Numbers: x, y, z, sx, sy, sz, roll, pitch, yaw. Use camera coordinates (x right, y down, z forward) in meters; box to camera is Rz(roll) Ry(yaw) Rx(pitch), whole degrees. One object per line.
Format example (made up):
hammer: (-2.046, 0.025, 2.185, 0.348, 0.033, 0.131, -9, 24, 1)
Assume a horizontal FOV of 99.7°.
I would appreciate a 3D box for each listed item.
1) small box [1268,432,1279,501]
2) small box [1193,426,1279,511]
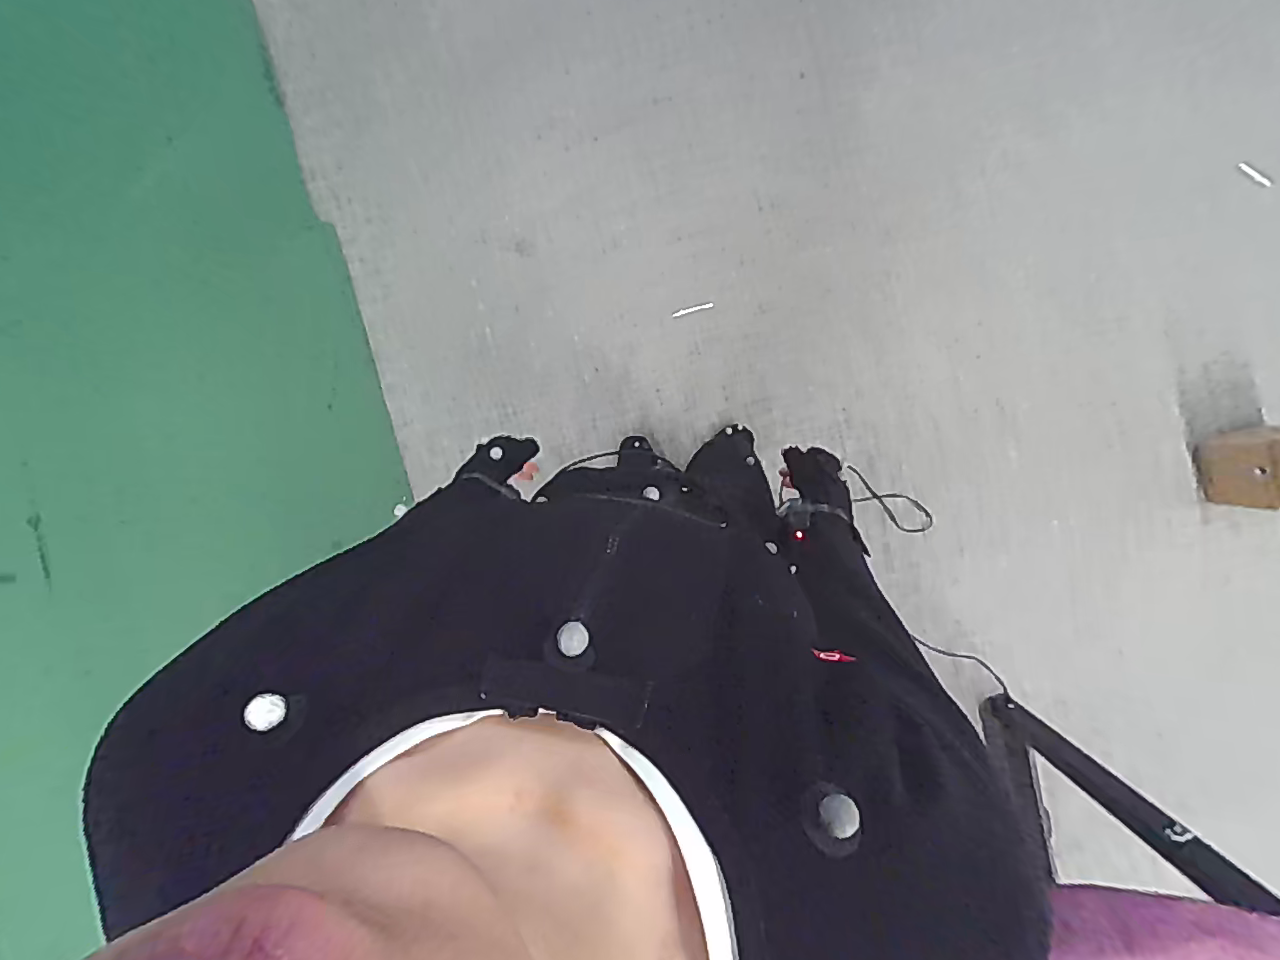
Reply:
small box: (1.507, -0.035, 1.143, 0.168, 0.176, 0.179, -15, 94, 4)
small box: (1.517, -0.034, 1.307, 0.179, 0.176, 0.168, -15, 93, 3)
